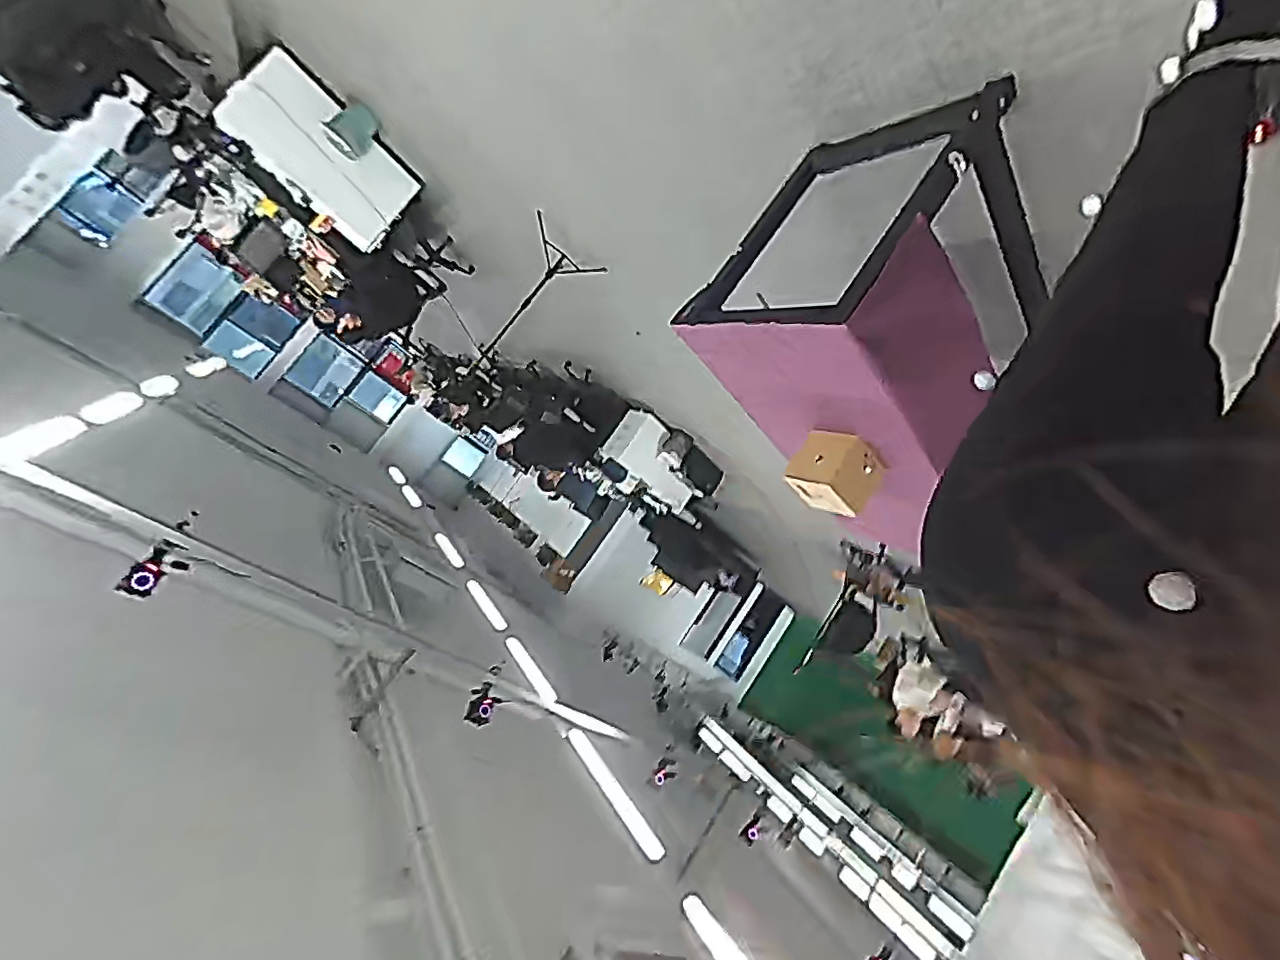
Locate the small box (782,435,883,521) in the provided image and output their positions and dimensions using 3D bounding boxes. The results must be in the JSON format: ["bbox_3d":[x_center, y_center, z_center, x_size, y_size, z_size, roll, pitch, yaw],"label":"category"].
[{"bbox_3d":[0.549,-0.013,1.540,0.168,0.176,0.179,40,170,-29],"label":"small box"}]
